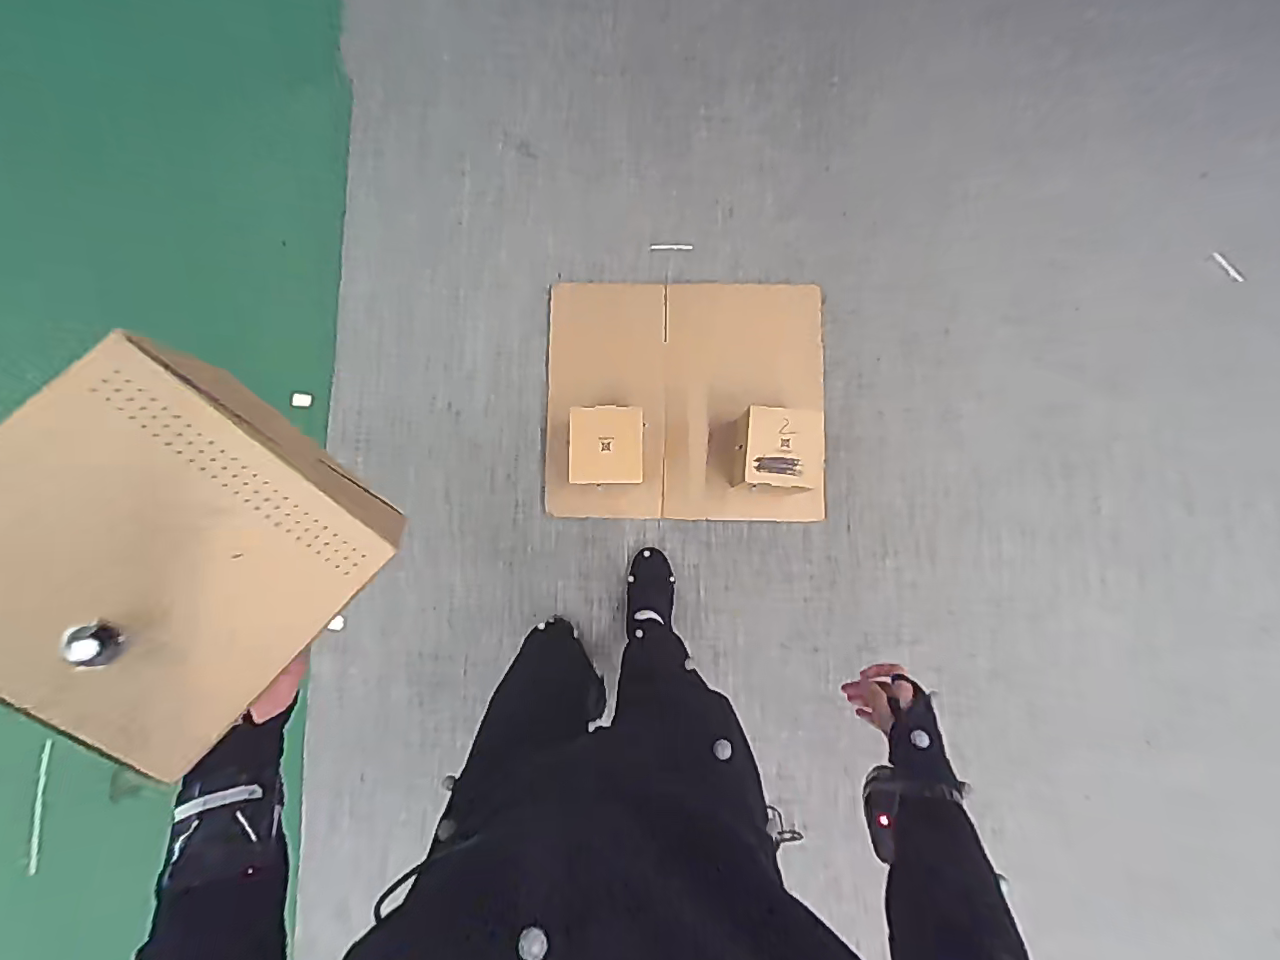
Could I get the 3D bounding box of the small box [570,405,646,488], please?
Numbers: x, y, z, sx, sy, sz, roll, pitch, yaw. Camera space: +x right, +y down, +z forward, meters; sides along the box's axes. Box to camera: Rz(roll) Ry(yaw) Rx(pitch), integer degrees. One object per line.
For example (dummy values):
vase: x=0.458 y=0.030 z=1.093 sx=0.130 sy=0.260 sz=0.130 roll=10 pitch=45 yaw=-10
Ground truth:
small box: x=-0.071 y=-0.072 z=1.273 sx=0.168 sy=0.176 sz=0.179 roll=-1 pitch=84 yaw=1

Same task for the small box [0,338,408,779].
small box: x=-0.273 y=0.039 z=0.352 sx=0.179 sy=0.168 sz=0.176 roll=45 pitch=76 yaw=-18
